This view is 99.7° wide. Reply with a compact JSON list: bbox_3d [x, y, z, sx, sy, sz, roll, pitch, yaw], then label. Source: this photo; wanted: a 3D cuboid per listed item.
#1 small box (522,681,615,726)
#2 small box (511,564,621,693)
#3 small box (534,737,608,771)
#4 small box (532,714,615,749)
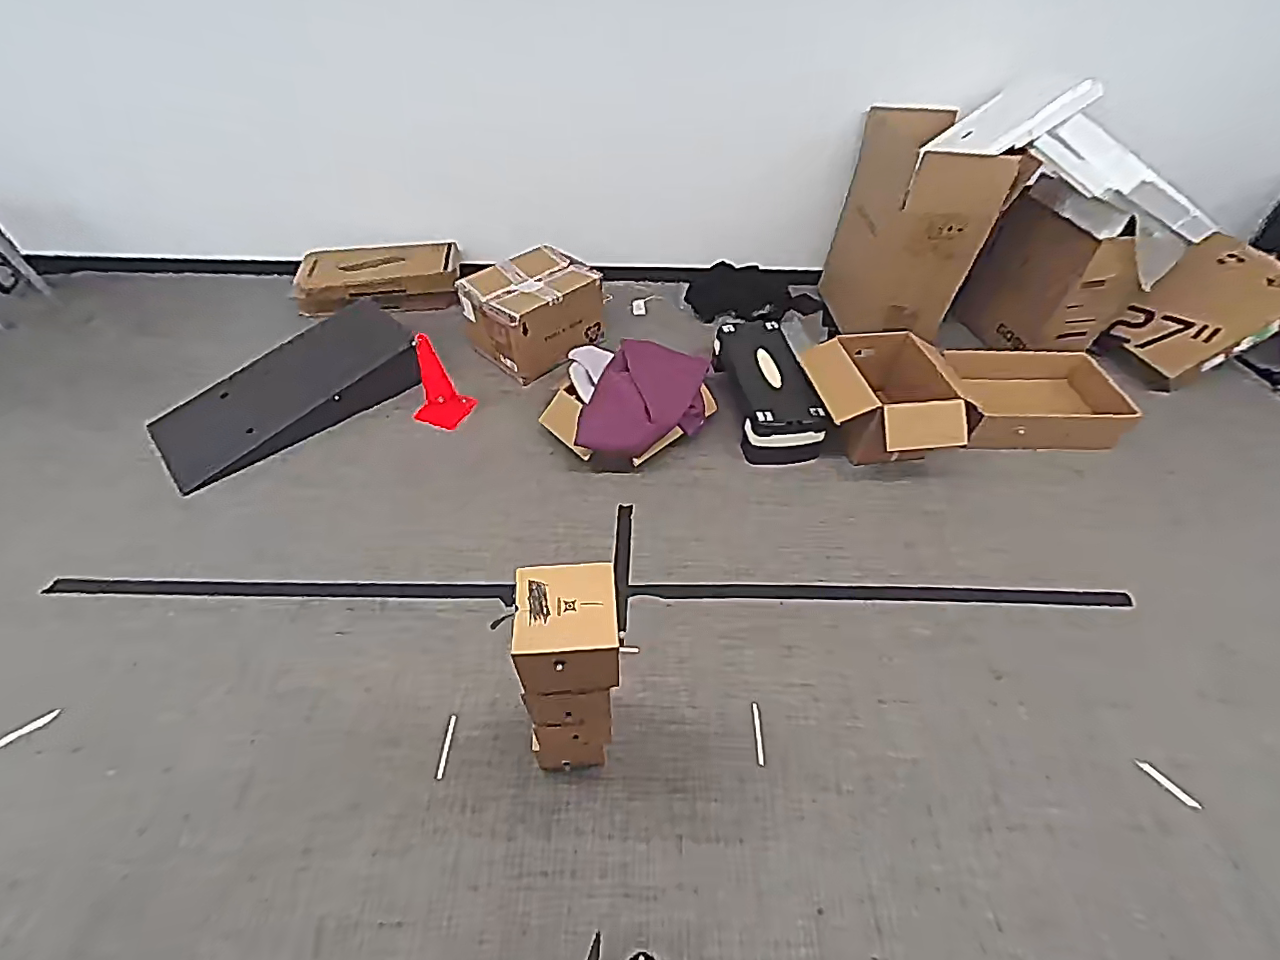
[{"bbox_3d":[-0.137,0.381,1.099,0.168,0.176,0.179,-1,49,-1],"label":"small box"},{"bbox_3d":[-0.126,0.272,0.976,0.179,0.176,0.168,-3,48,-4],"label":"small box"},{"bbox_3d":[-0.167,0.602,1.343,0.168,0.176,0.179,-4,50,-3],"label":"small box"},{"bbox_3d":[-0.147,0.494,1.220,0.168,0.176,0.179,-5,49,-4],"label":"small box"}]
